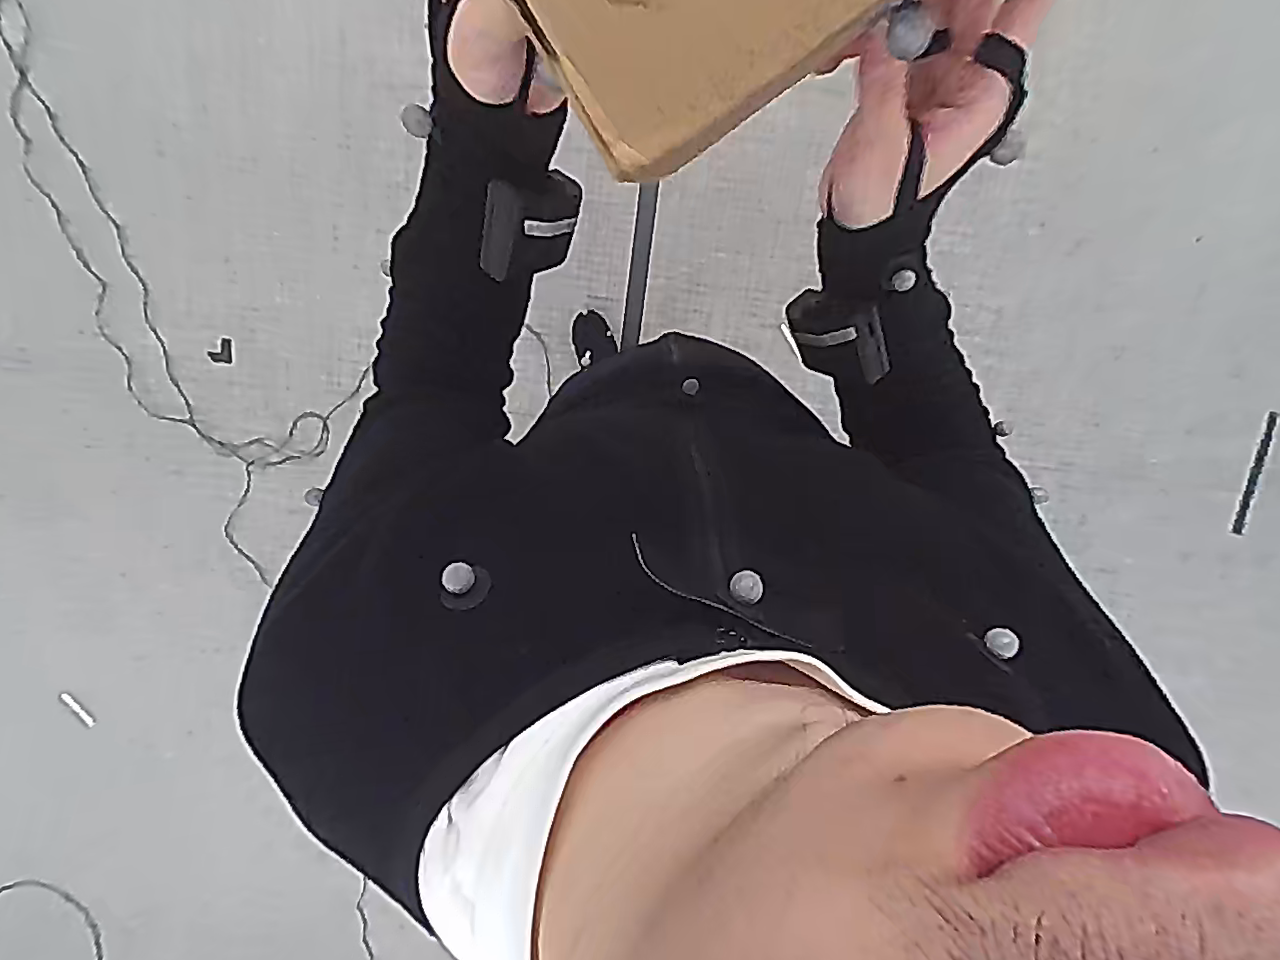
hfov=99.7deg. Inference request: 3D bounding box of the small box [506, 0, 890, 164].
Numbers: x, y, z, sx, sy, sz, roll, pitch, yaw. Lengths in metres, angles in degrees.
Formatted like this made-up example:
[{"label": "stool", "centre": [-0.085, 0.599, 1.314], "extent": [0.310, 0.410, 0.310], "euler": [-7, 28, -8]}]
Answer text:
[{"label": "small box", "centre": [0.030, -0.222, 0.158], "extent": [0.179, 0.176, 0.168], "euler": [-27, 114, 22]}]
